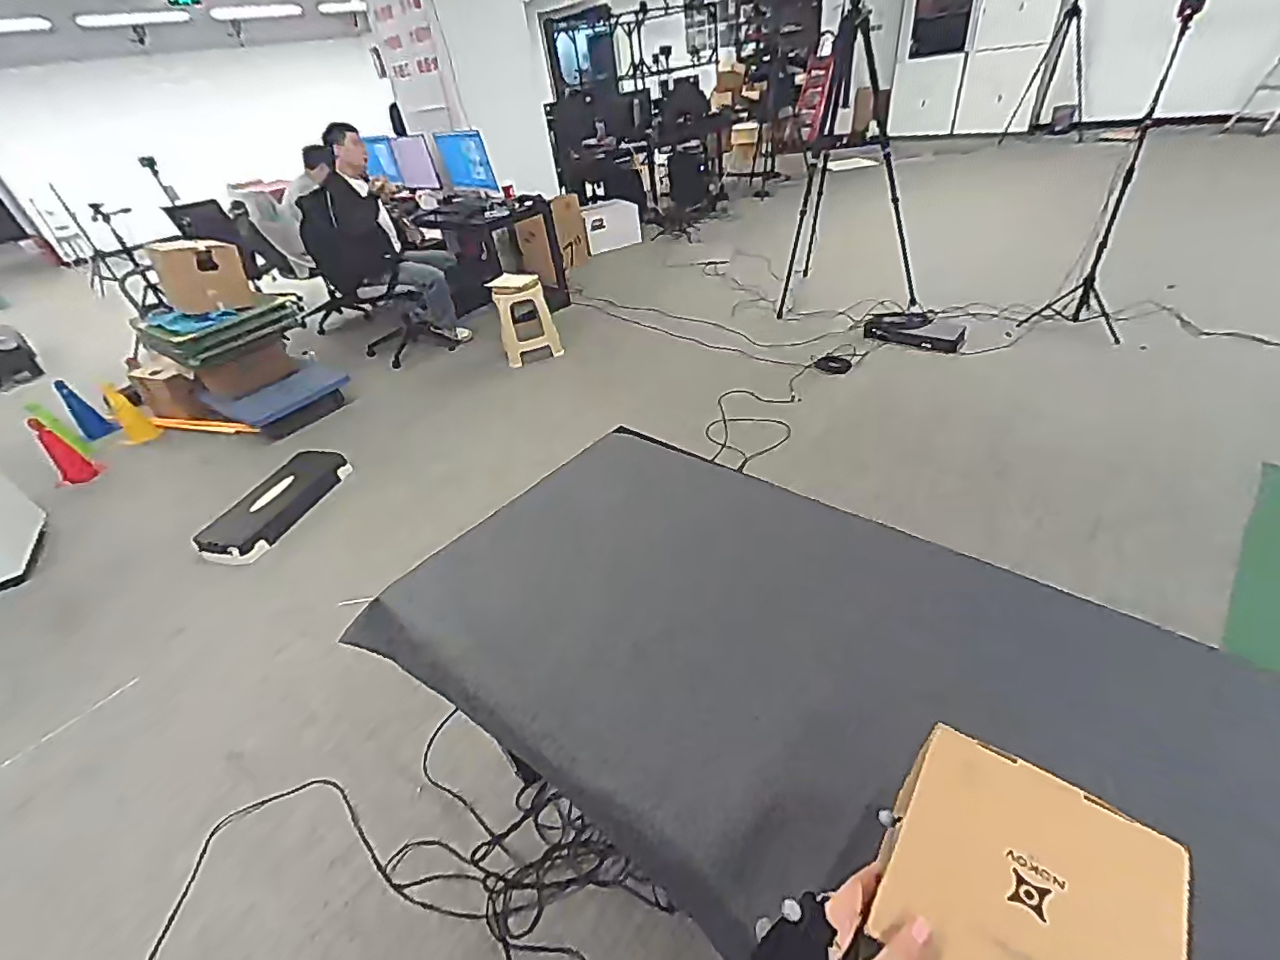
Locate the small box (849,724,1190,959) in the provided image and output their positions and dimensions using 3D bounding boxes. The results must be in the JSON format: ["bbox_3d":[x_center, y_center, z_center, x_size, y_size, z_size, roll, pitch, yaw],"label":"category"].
[{"bbox_3d":[0.279,0.341,0.424,0.168,0.176,0.179,21,50,31],"label":"small box"}]
